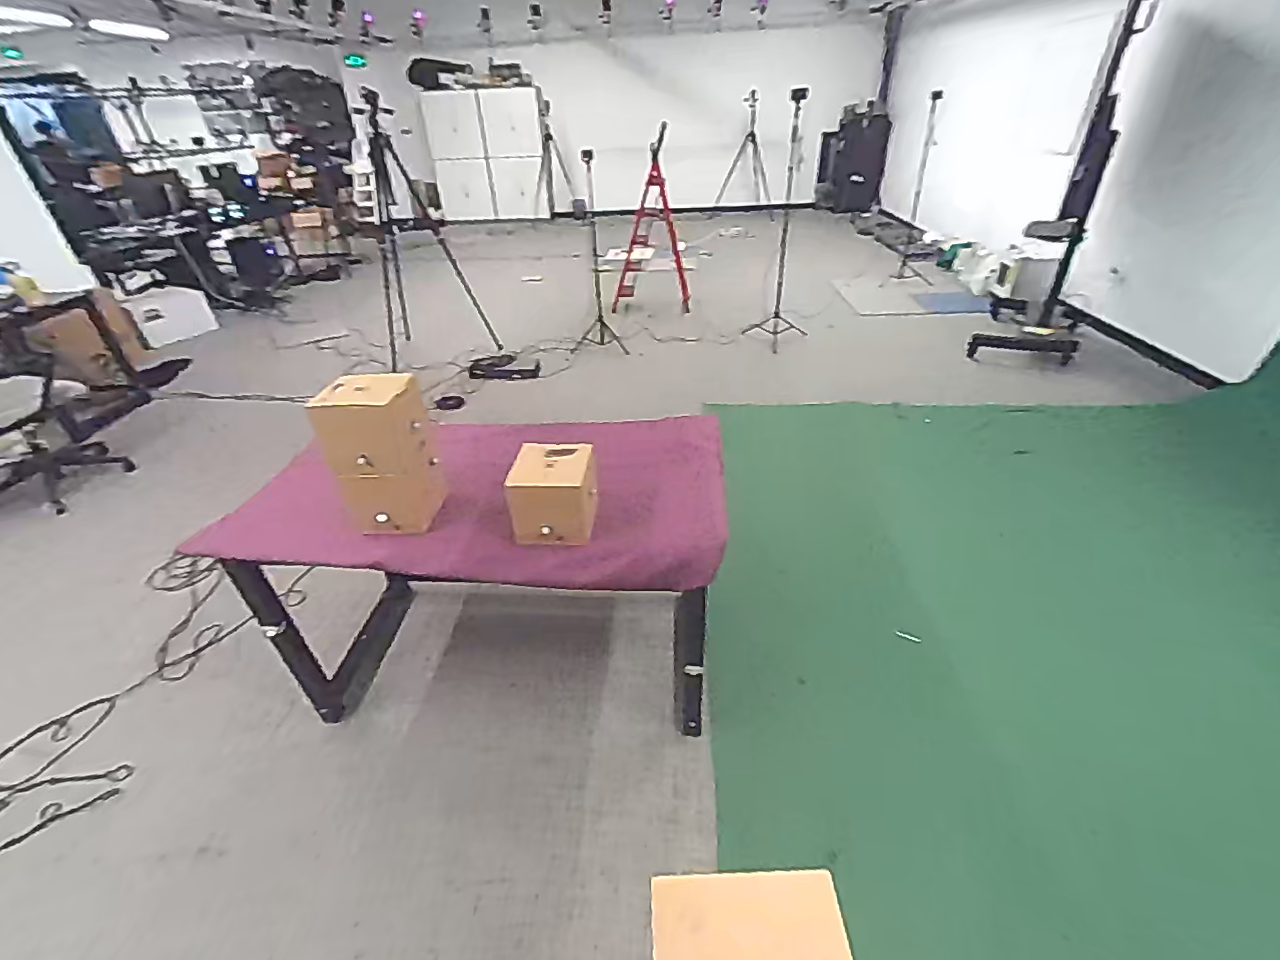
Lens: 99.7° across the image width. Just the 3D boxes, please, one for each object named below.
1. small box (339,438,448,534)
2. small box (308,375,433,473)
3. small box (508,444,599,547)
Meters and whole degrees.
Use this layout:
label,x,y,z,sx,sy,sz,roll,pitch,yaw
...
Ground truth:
label,x,y,z,sx,sy,sz,roll,pitch,yaw
small box,-0.579,0.012,1.301,0.168,0.176,0.179,-1,33,4
small box,-0.588,-0.124,1.210,0.179,0.176,0.168,0,32,3
small box,-0.189,0.033,1.243,0.168,0.176,0.179,0,35,5
